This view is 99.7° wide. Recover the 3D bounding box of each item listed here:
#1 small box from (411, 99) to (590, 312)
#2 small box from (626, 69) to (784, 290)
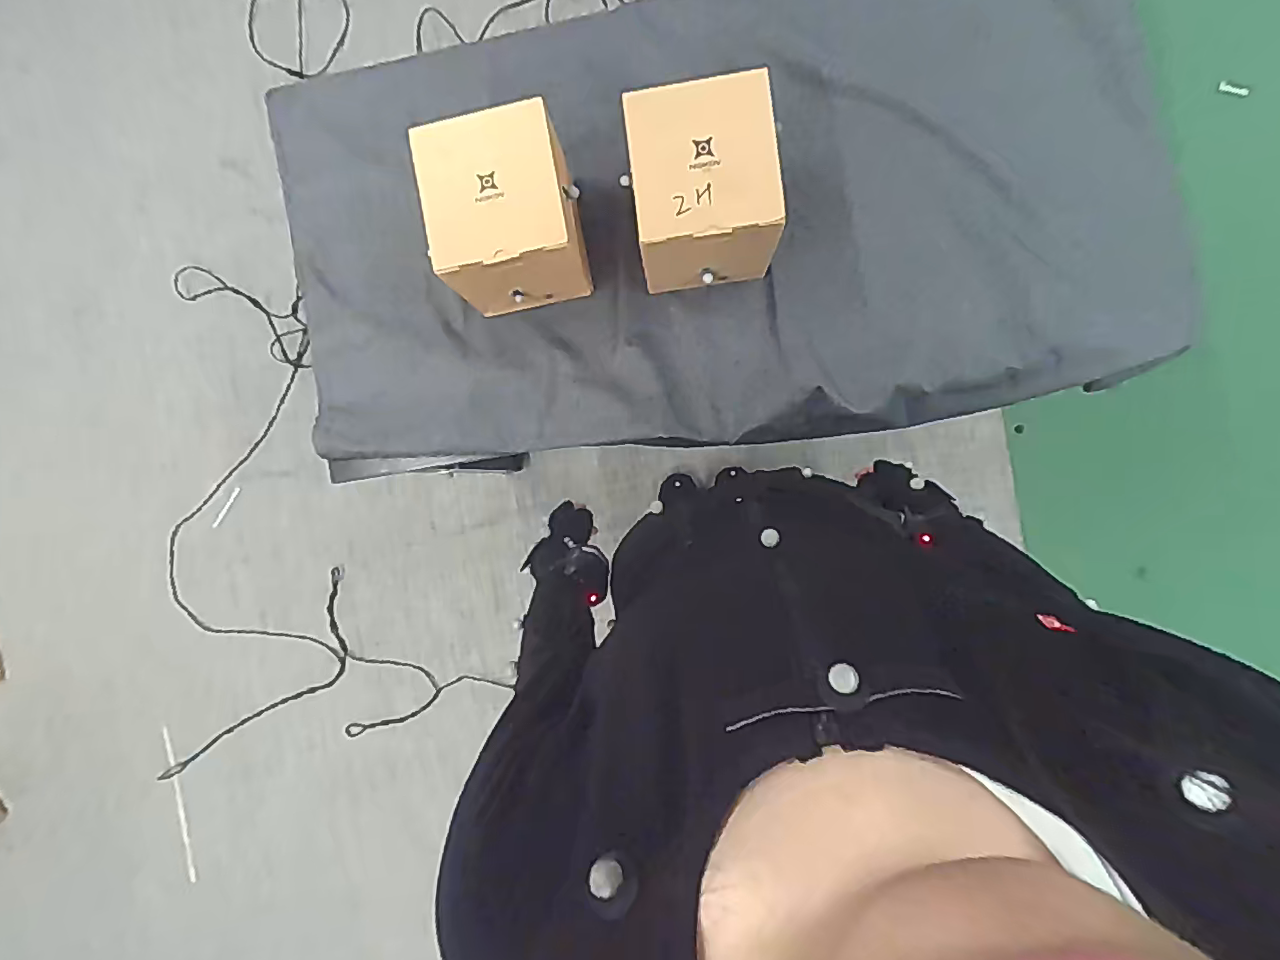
[{"bbox_3d":[-0.170,-0.342,0.706,0.168,0.176,0.179,-11,90,4],"label":"small box"},{"bbox_3d":[0.076,-0.362,0.684,0.168,0.176,0.179,-6,90,5],"label":"small box"}]
